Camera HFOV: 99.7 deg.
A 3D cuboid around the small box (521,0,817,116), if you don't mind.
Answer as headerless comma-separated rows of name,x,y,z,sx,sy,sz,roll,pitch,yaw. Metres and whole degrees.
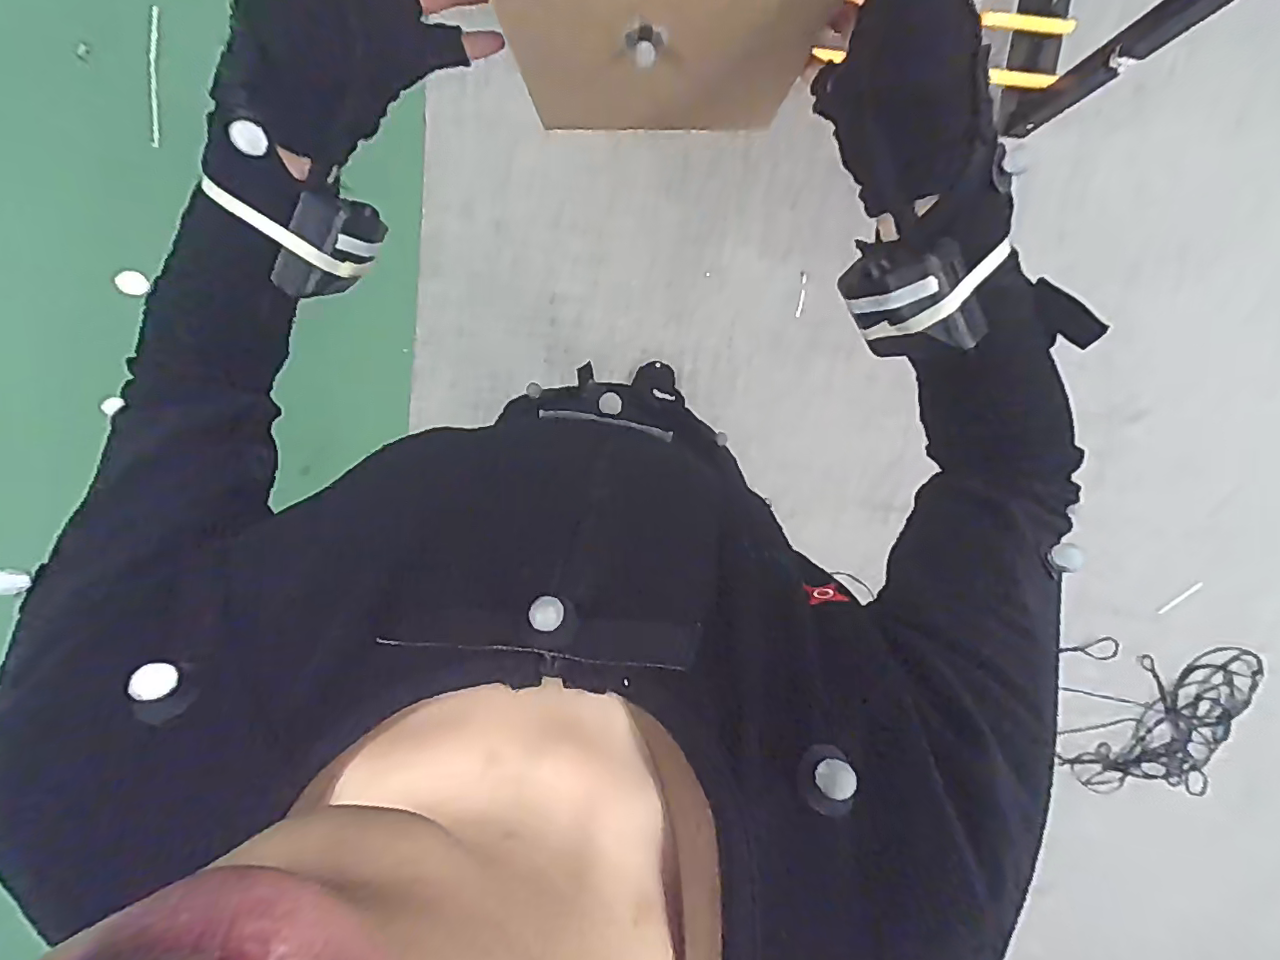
small box,0.016,-0.341,0.321,0.179,0.176,0.168,0,103,-1
